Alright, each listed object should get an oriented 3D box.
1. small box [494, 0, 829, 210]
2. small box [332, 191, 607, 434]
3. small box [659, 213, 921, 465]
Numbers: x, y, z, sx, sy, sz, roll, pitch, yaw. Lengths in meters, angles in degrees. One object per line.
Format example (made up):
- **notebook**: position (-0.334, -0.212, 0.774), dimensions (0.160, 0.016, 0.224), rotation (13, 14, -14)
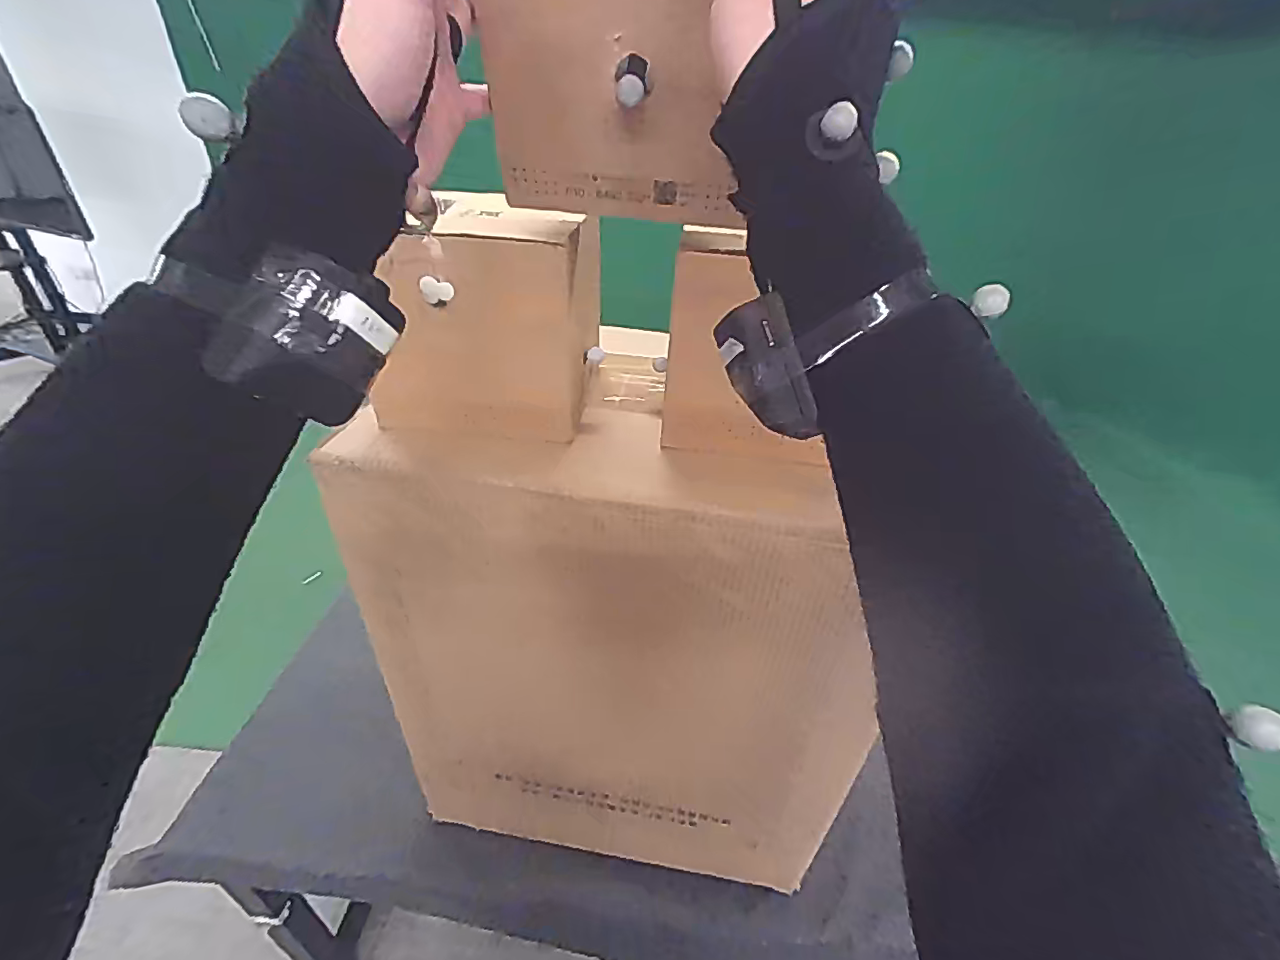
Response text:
- **small box**: position (0.007, -0.297, 0.341), dimensions (0.179, 0.176, 0.168), rotation (-19, 56, -13)
- **small box**: position (-0.133, -0.157, 0.500), dimensions (0.179, 0.176, 0.168), rotation (6, 39, 7)
- **small box**: position (0.117, -0.129, 0.489), dimensions (0.179, 0.176, 0.168), rotation (7, 36, 5)
